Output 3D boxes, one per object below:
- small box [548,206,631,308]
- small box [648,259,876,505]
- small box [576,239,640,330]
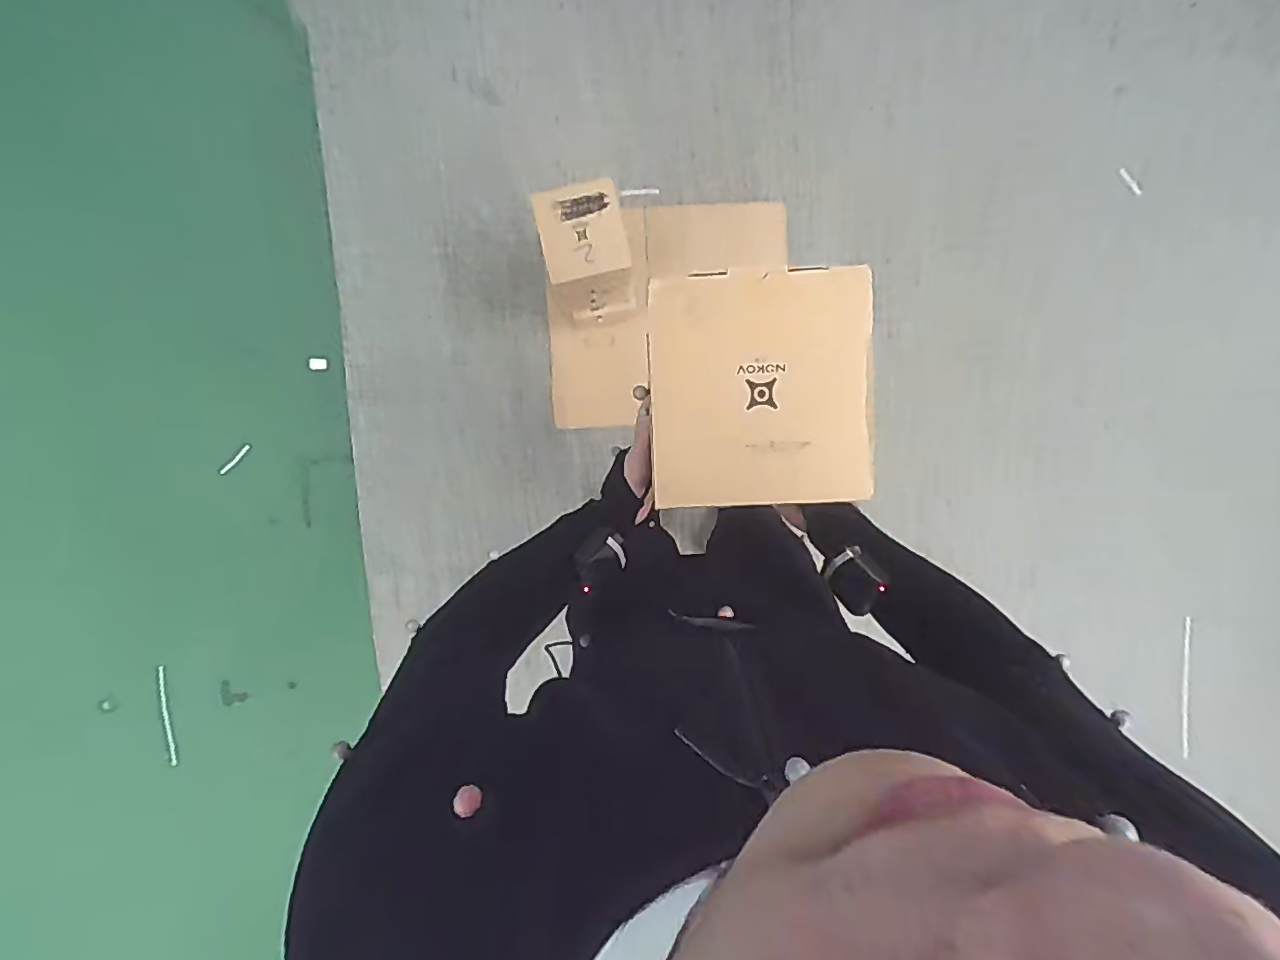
[{"bbox_3d":[-0.114,-0.517,1.285,0.168,0.176,0.179,-10,95,-1],"label":"small box"},{"bbox_3d":[0.090,-0.074,0.471,0.168,0.176,0.179,-2,94,3],"label":"small box"},{"bbox_3d":[-0.096,-0.519,1.450,0.168,0.176,0.179,-11,95,0],"label":"small box"}]
